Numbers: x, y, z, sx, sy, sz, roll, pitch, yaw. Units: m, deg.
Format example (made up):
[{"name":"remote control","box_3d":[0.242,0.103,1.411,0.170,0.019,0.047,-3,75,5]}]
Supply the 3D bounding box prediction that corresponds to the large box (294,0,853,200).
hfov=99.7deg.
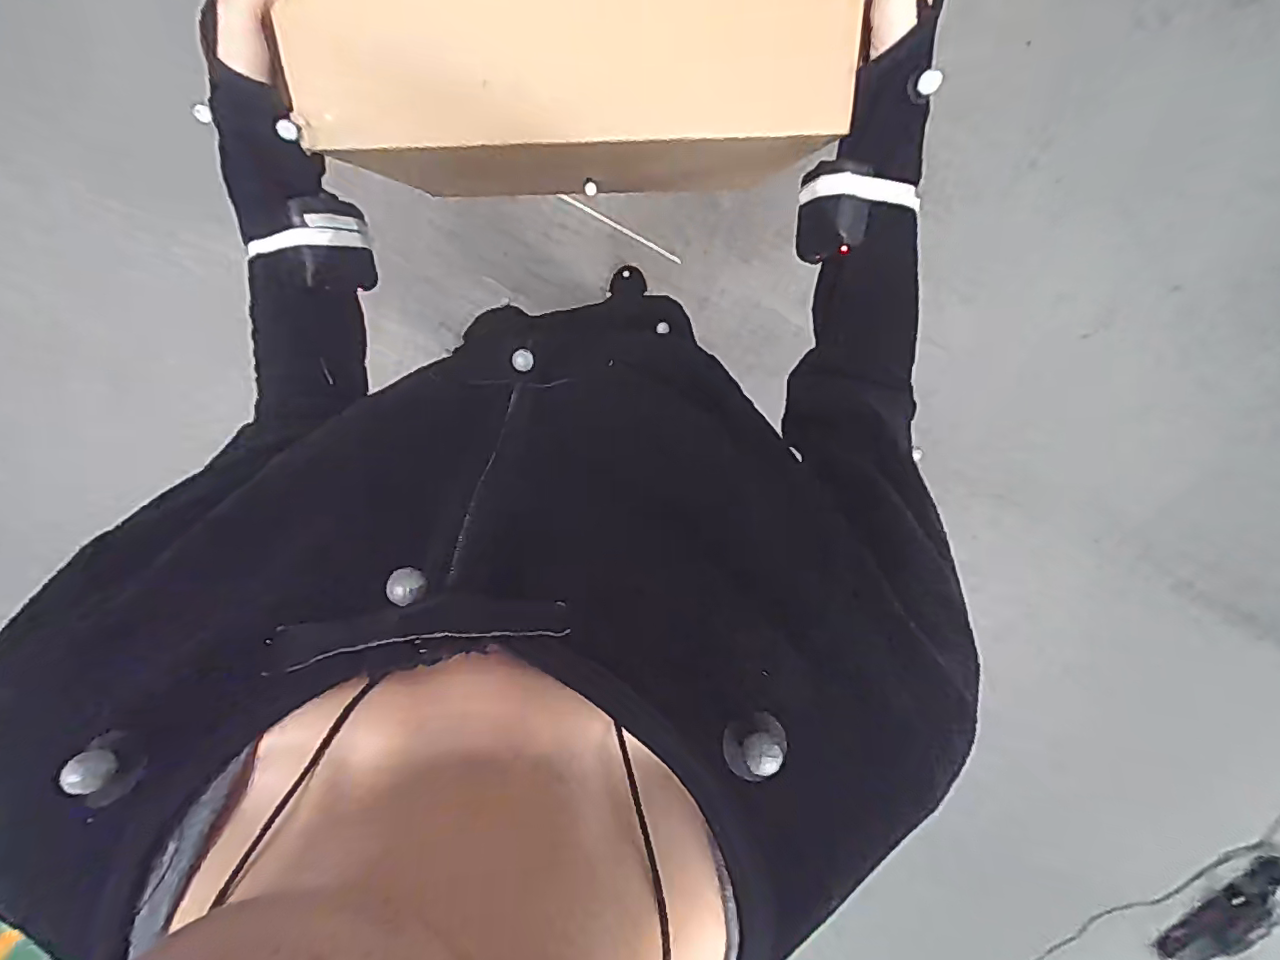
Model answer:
[{"name":"large box","box_3d":[-0.052,-0.455,0.501,0.408,0.320,0.320,-4,111,-1]}]
